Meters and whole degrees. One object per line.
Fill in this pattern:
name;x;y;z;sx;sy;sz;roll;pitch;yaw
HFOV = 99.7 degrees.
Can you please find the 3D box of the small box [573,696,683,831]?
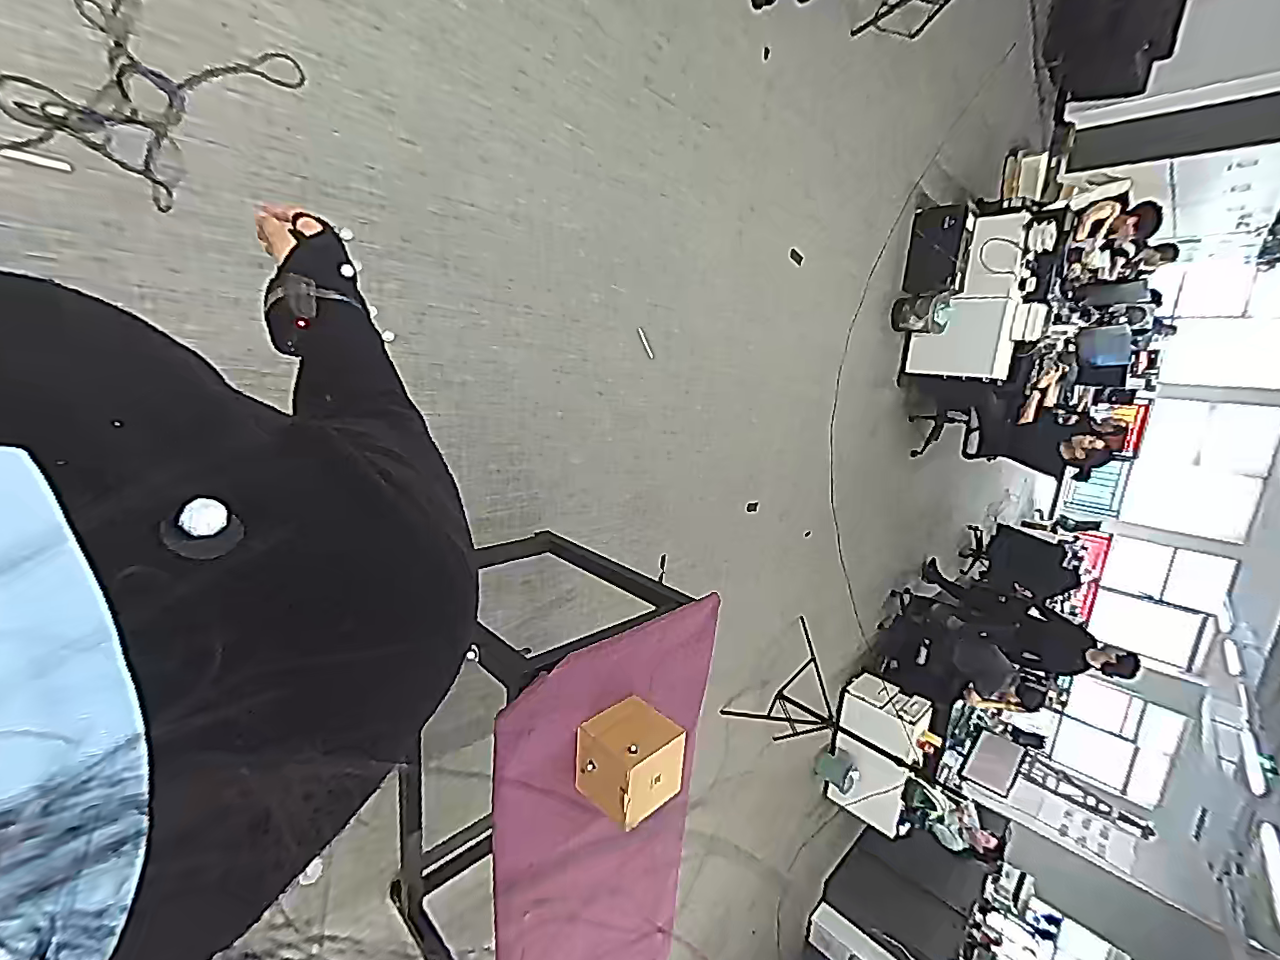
small box;-0.028;0.621;1.212;0.179;0.176;0.168;-11;111;-43
